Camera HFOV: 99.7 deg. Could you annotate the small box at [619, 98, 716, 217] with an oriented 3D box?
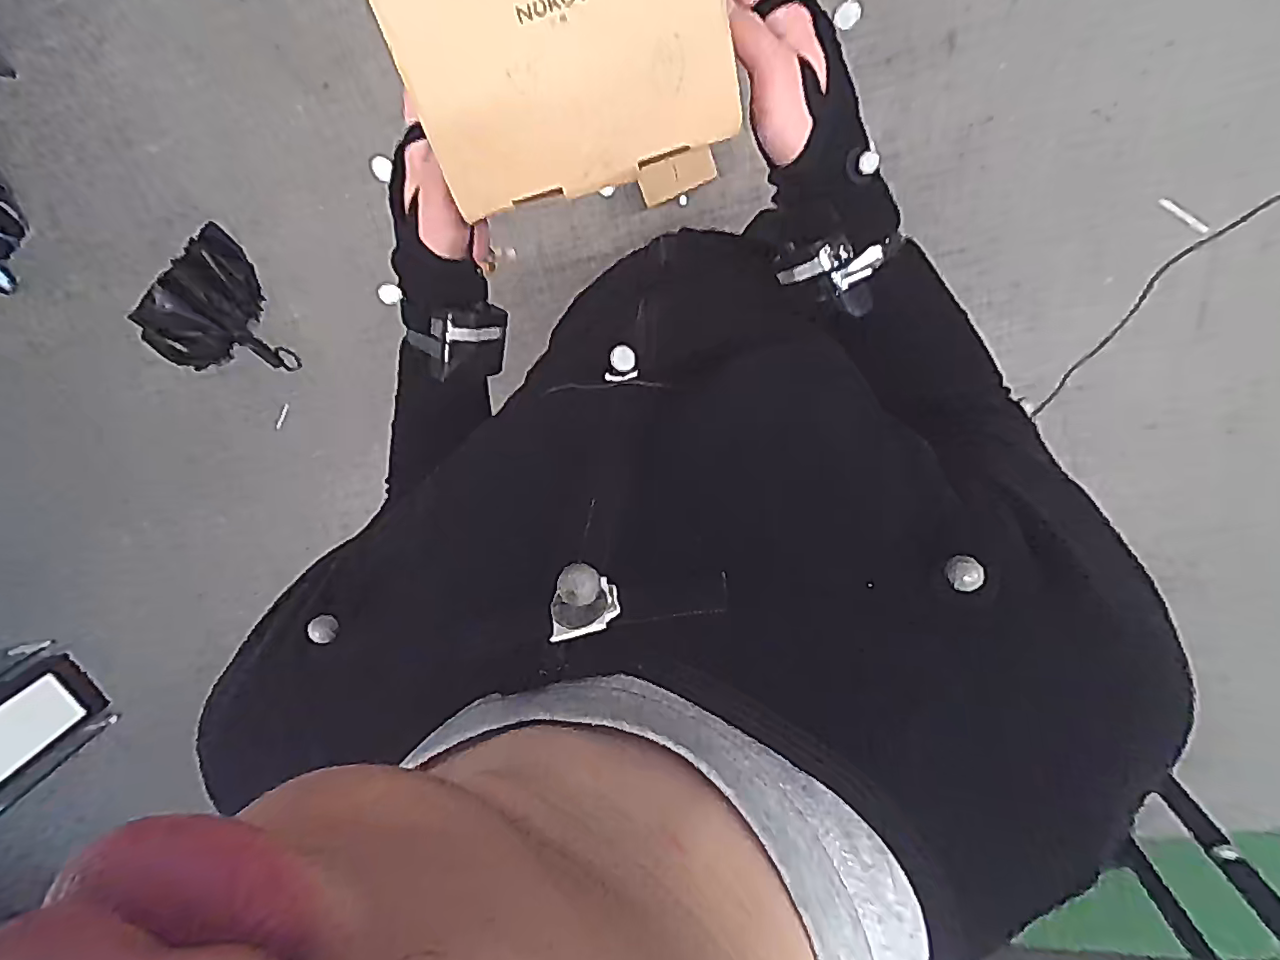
[{"bbox_3d":[0.066,-0.716,1.225,0.168,0.176,0.179,-18,112,14],"label":"small box"}]
